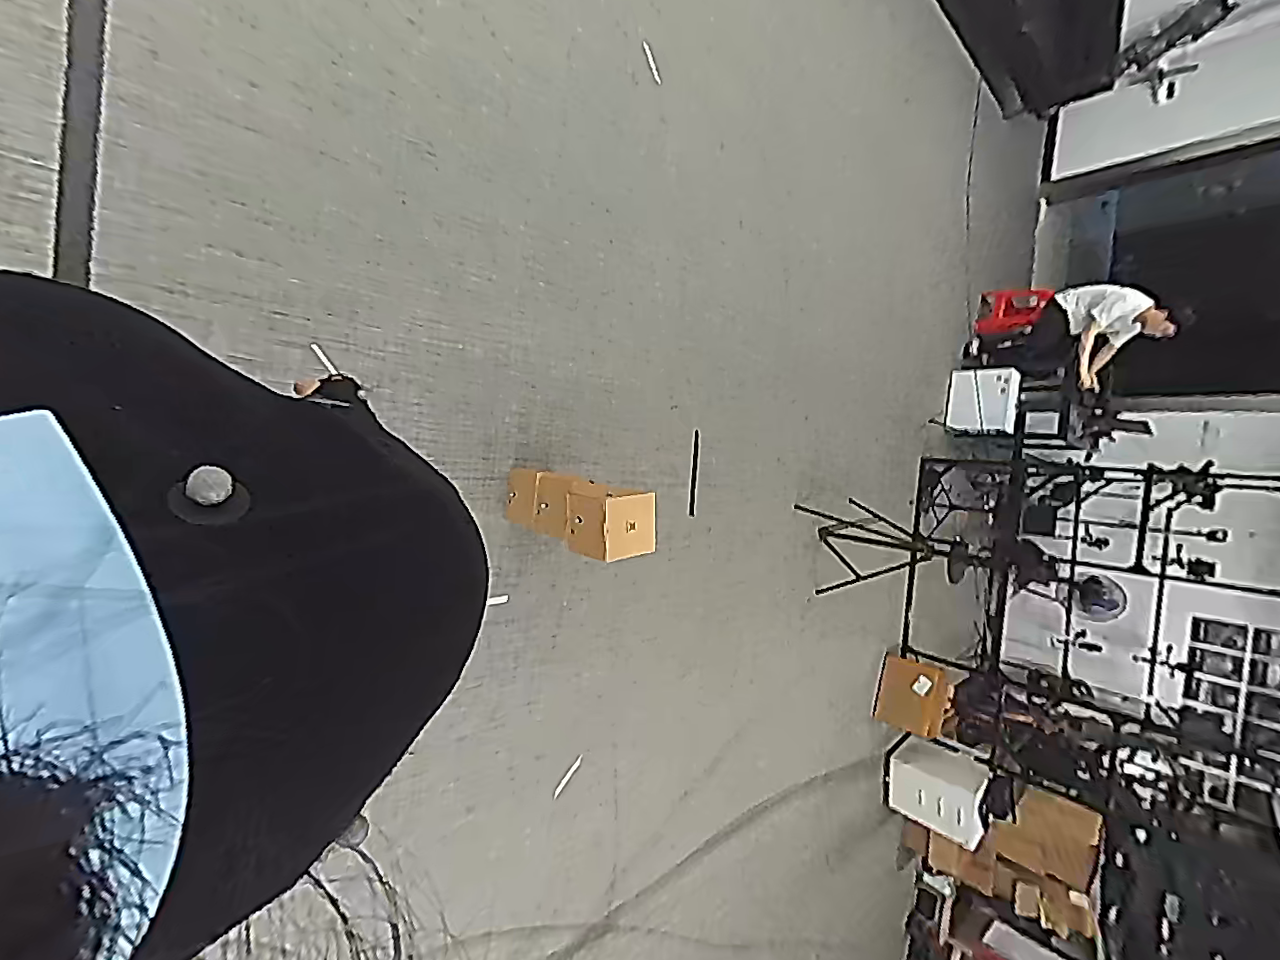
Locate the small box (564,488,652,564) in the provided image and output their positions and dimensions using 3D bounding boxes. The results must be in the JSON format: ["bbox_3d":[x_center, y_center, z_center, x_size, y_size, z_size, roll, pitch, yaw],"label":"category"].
[{"bbox_3d":[-0.088,0.117,1.463,0.179,0.176,0.168,-7,100,-42],"label":"small box"}]

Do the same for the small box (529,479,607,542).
[{"bbox_3d":[-0.197,0.089,1.581,0.179,0.176,0.168,9,88,-43],"label":"small box"}]
